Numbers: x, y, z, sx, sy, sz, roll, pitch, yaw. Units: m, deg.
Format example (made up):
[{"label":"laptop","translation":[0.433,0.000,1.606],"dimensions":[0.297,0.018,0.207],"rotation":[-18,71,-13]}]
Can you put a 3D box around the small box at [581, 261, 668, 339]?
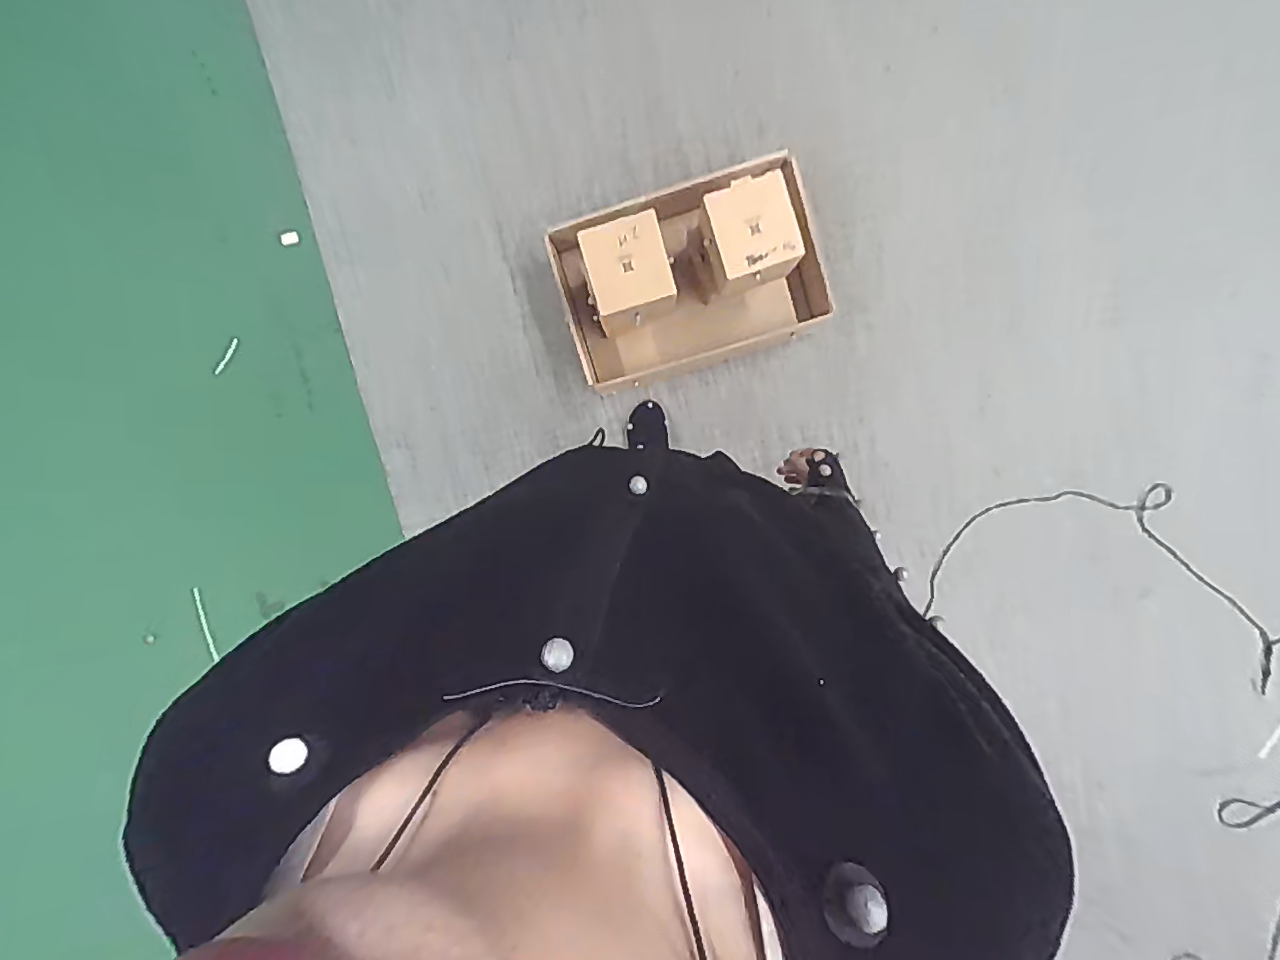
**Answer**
[{"label":"small box","translation":[-0.031,-0.464,1.340],"dimensions":[0.179,0.176,0.168],"rotation":[-20,95,2]}]

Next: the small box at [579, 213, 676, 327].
[{"label":"small box","translation":[-0.022,-0.444,1.177],"dimensions":[0.168,0.176,0.179],"rotation":[-16,95,2]}]

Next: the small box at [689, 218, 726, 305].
[{"label":"small box","translation":[0.225,-0.550,1.323],"dimensions":[0.179,0.176,0.168],"rotation":[-21,94,2]}]

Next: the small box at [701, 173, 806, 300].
[{"label":"small box","translation":[0.234,-0.514,1.164],"dimensions":[0.168,0.176,0.179],"rotation":[-17,94,4]}]
